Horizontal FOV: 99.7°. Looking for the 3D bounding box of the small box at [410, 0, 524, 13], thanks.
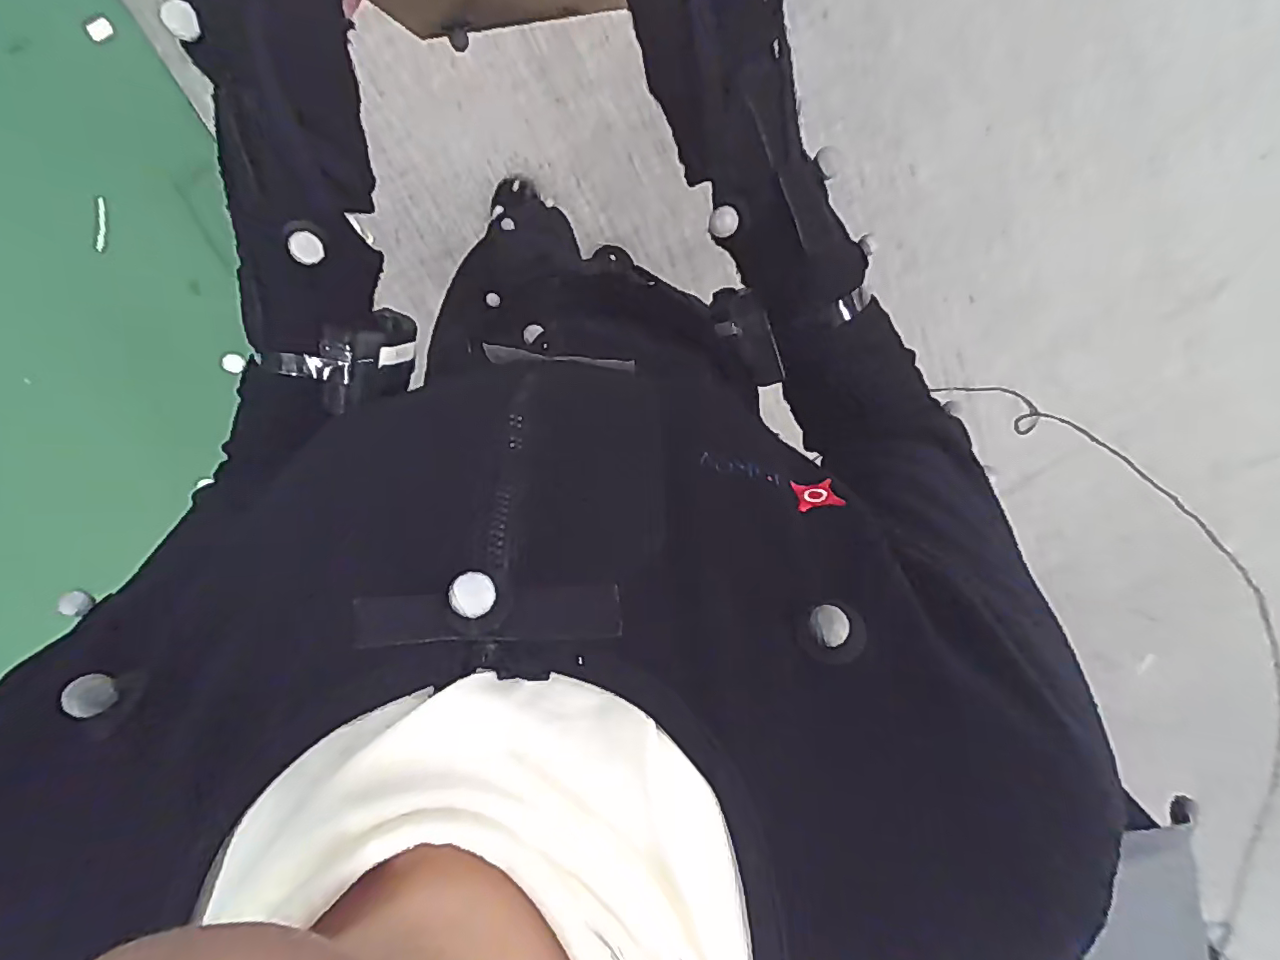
[{"bbox_3d":[-0.076,-0.351,0.250,0.168,0.176,0.179,-7,118,2],"label":"small box"}]
